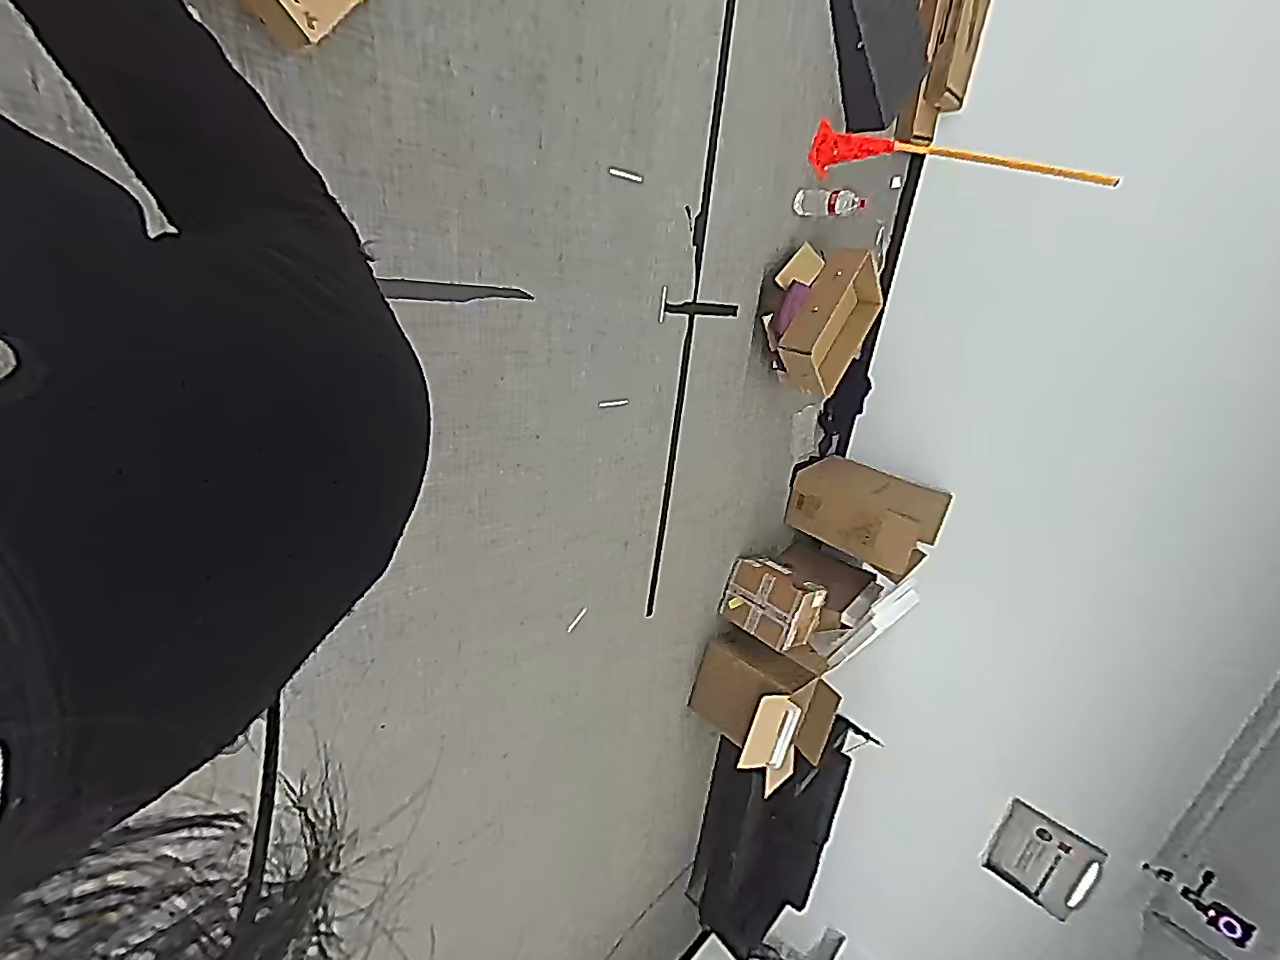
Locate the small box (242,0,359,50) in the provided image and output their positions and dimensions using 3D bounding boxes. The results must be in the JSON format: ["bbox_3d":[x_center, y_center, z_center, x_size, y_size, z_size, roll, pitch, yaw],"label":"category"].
[{"bbox_3d":[-0.662,-0.967,1.028,0.179,0.176,0.168,-55,141,-12],"label":"small box"}]
